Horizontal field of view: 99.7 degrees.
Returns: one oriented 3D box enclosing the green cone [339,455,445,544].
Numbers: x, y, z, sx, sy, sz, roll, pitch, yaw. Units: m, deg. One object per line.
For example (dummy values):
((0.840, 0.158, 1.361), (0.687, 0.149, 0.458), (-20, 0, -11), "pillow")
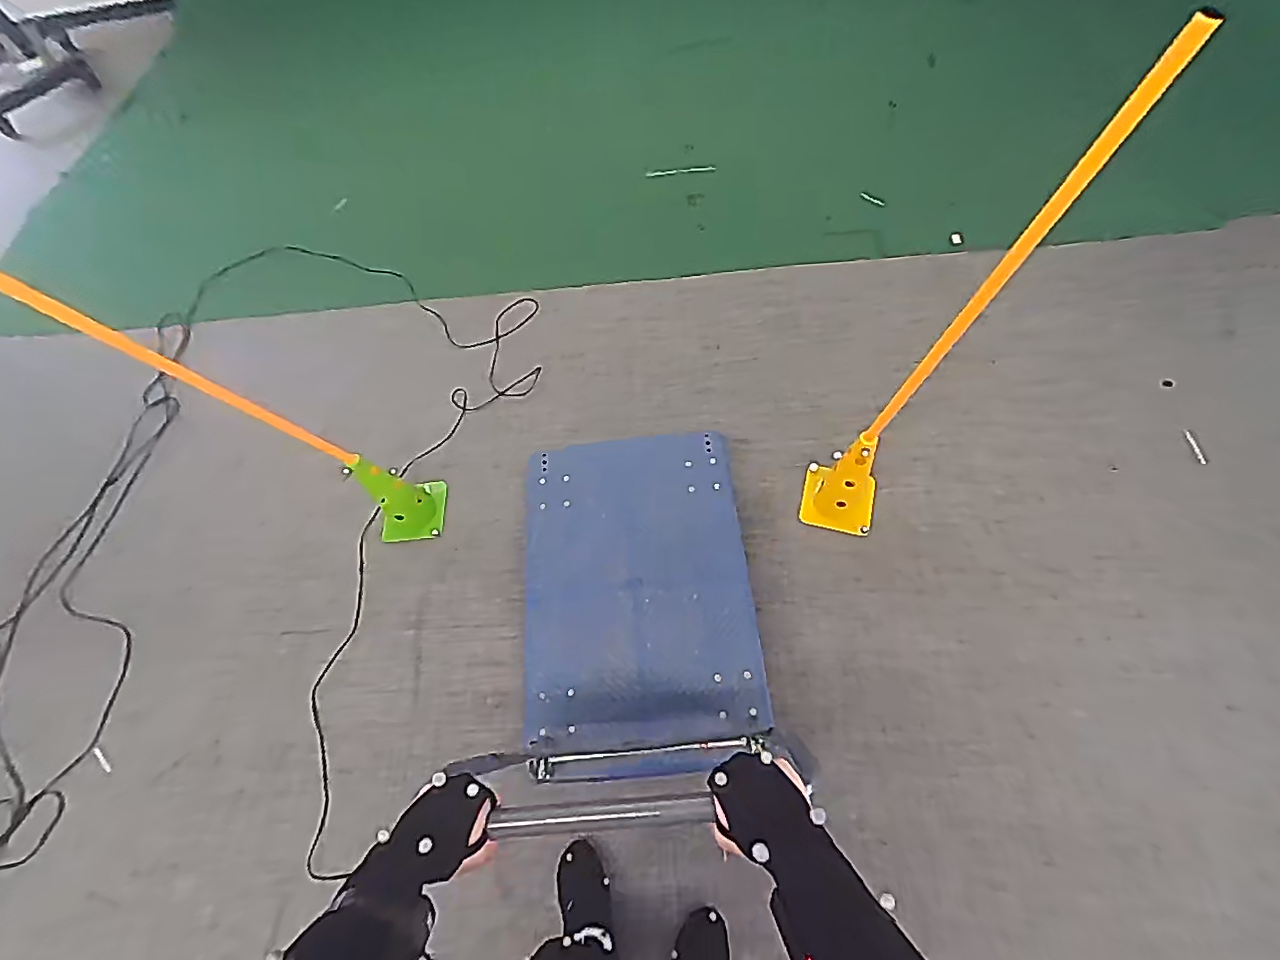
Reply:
((-0.760, 0.027, 1.607), (0.202, 0.368, 0.200), (-7, 62, 5), "green cone")
